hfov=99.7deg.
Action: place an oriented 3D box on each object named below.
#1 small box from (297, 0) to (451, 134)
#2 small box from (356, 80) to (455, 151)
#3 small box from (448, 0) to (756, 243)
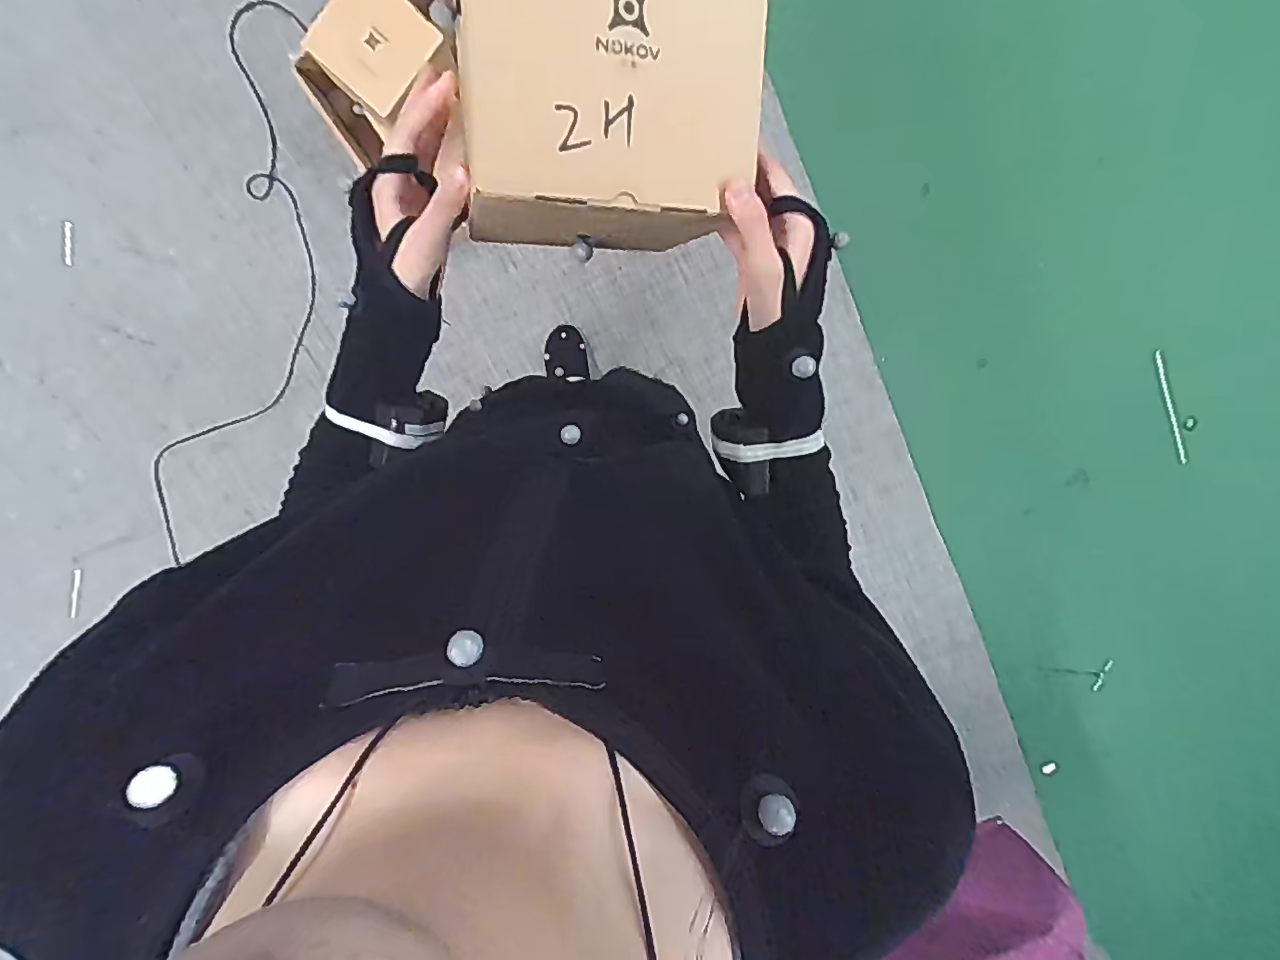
[{"bbox_3d":[-0.464,-0.781,0.980,0.168,0.176,0.179,40,97,-15],"label":"small box"},{"bbox_3d":[-0.499,-0.831,1.132,0.179,0.176,0.168,-33,107,1],"label":"small box"},{"bbox_3d":[-0.038,-0.268,0.361,0.168,0.176,0.179,-4,108,-17],"label":"small box"}]
